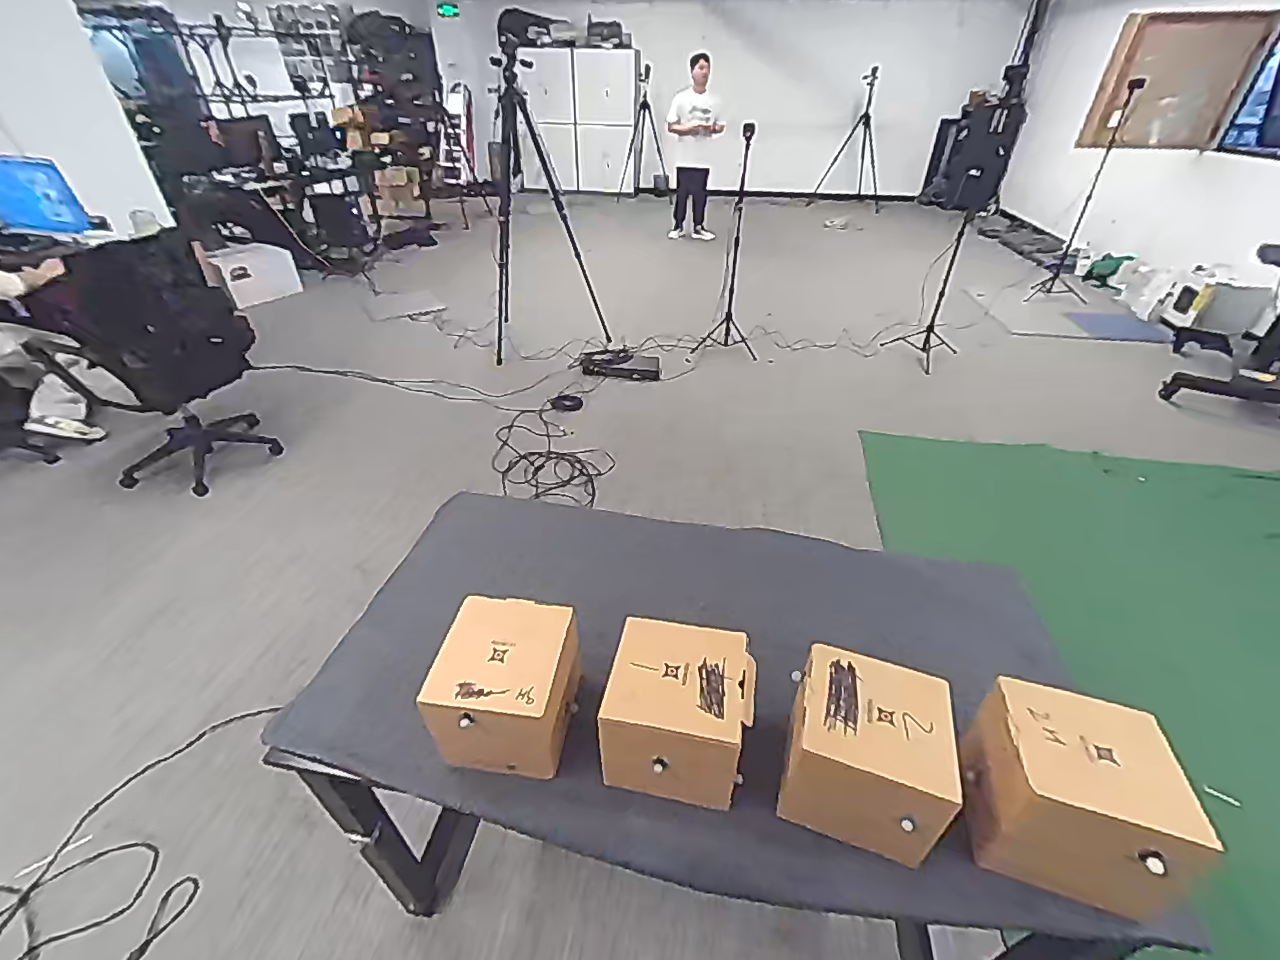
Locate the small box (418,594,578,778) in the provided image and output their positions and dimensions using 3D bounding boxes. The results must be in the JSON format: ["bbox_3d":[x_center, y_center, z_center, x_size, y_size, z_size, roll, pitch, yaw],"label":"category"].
[{"bbox_3d":[-0.189,0.294,0.782,0.168,0.176,0.179,4,37,7],"label":"small box"}]
